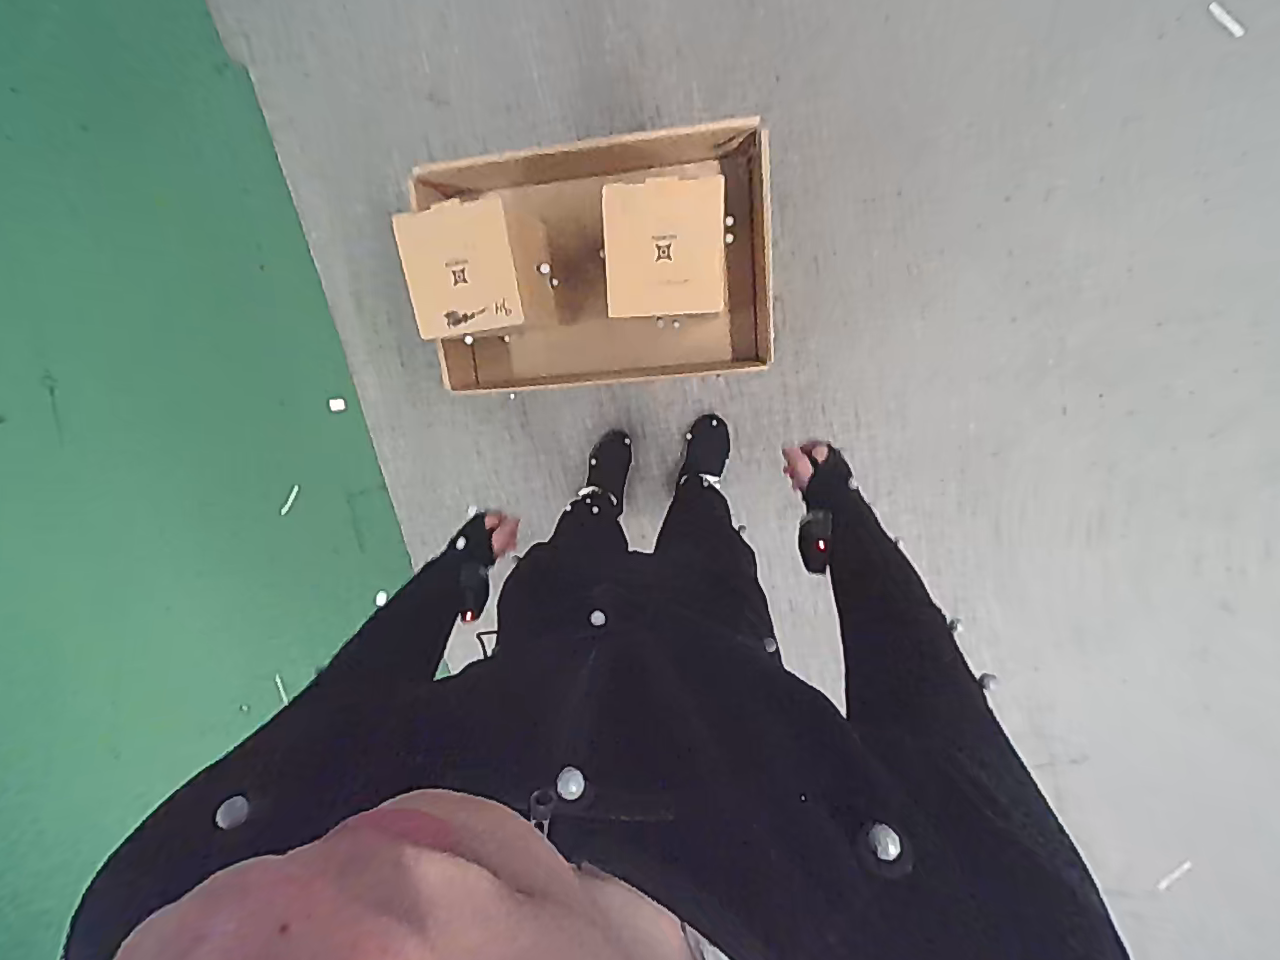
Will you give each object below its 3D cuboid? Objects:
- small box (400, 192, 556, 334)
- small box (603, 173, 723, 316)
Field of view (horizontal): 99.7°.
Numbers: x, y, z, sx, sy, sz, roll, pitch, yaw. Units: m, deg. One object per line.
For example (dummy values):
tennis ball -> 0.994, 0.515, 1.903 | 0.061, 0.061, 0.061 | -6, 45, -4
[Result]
small box -> -0.247, -0.334, 0.866 | 0.168, 0.176, 0.179 | -6, 105, 10
small box -> 0.041, -0.346, 0.825 | 0.168, 0.176, 0.179 | 0, 106, 8
